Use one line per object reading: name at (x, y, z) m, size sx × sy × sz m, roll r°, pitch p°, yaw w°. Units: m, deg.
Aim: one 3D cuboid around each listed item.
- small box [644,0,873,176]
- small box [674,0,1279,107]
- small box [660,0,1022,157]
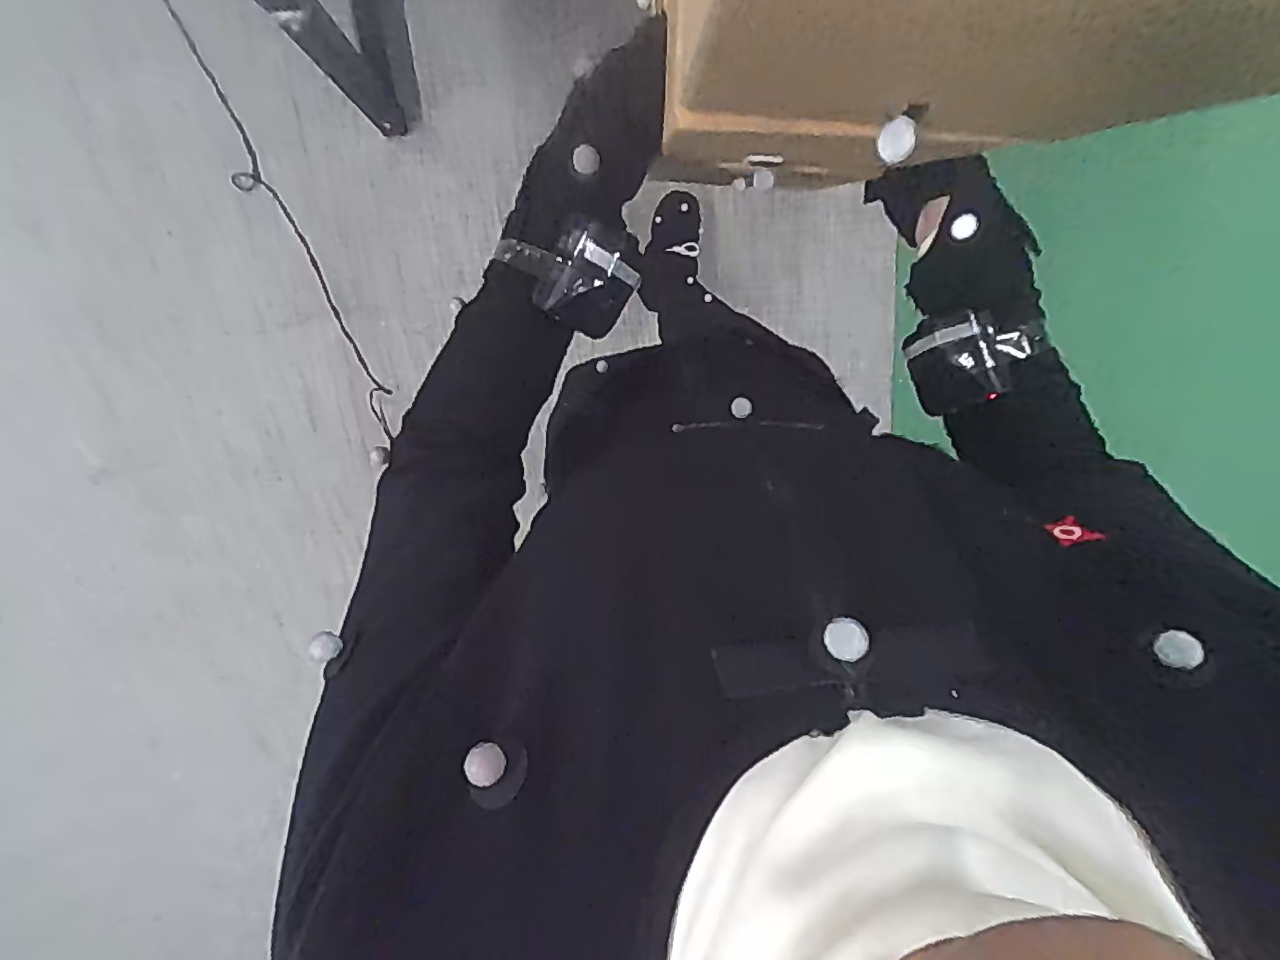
small box at (0.096, -0.356, 0.447) m, size 0.179 × 0.176 × 0.168 m, roll 2°, pitch 116°, yaw -4°
small box at (0.108, -0.212, 0.139) m, size 0.179 × 0.176 × 0.168 m, roll 3°, pitch 115°, yaw -2°
small box at (0.099, -0.284, 0.284) m, size 0.168 × 0.176 × 0.179 m, roll 2°, pitch 116°, yaw -1°
